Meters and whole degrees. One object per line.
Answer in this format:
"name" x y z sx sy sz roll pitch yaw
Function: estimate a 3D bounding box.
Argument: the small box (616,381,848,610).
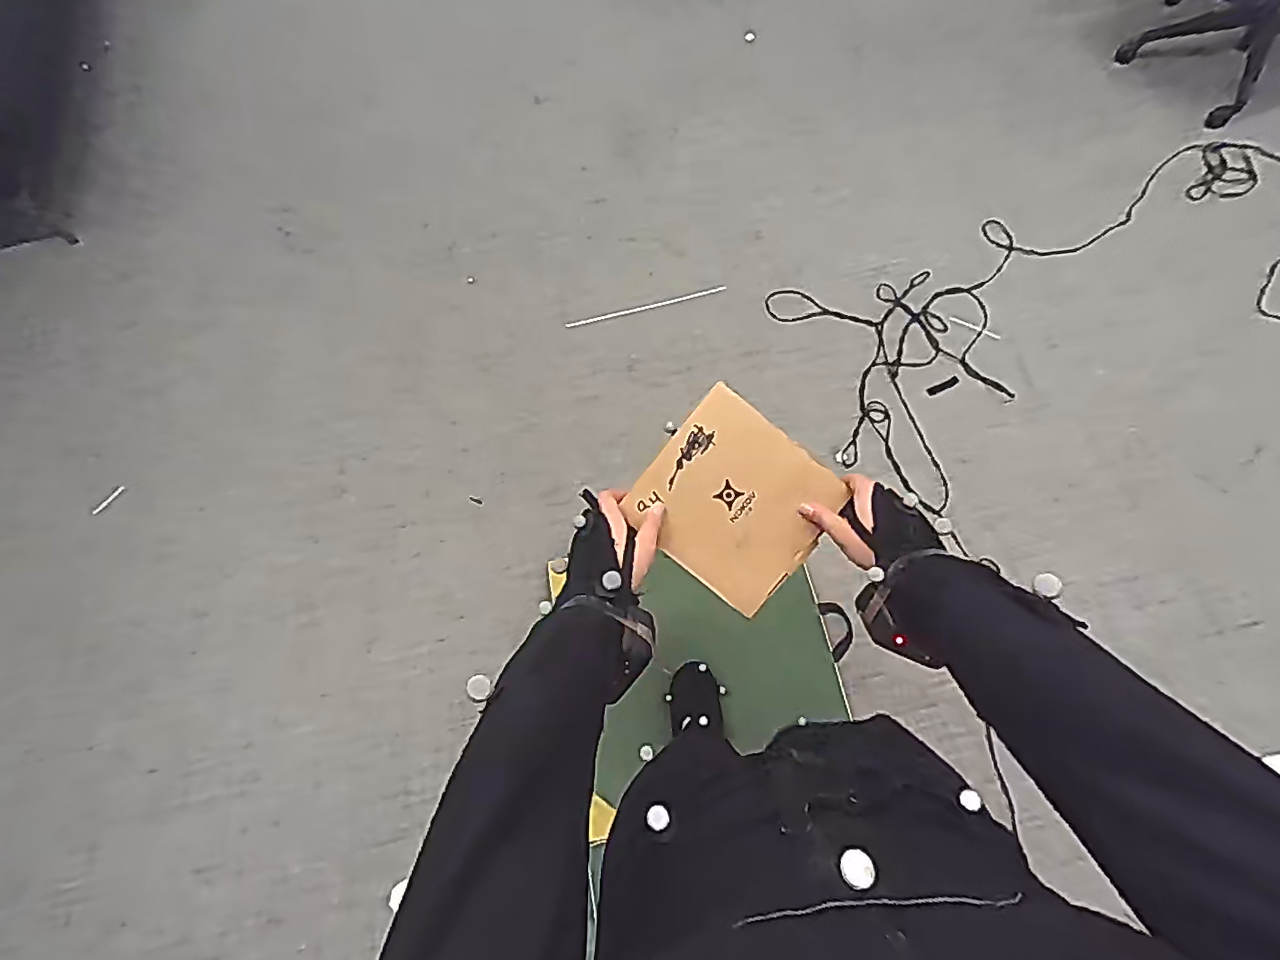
"small box" 0.092 0.013 0.616 0.179 0.176 0.168 40 91 -2
